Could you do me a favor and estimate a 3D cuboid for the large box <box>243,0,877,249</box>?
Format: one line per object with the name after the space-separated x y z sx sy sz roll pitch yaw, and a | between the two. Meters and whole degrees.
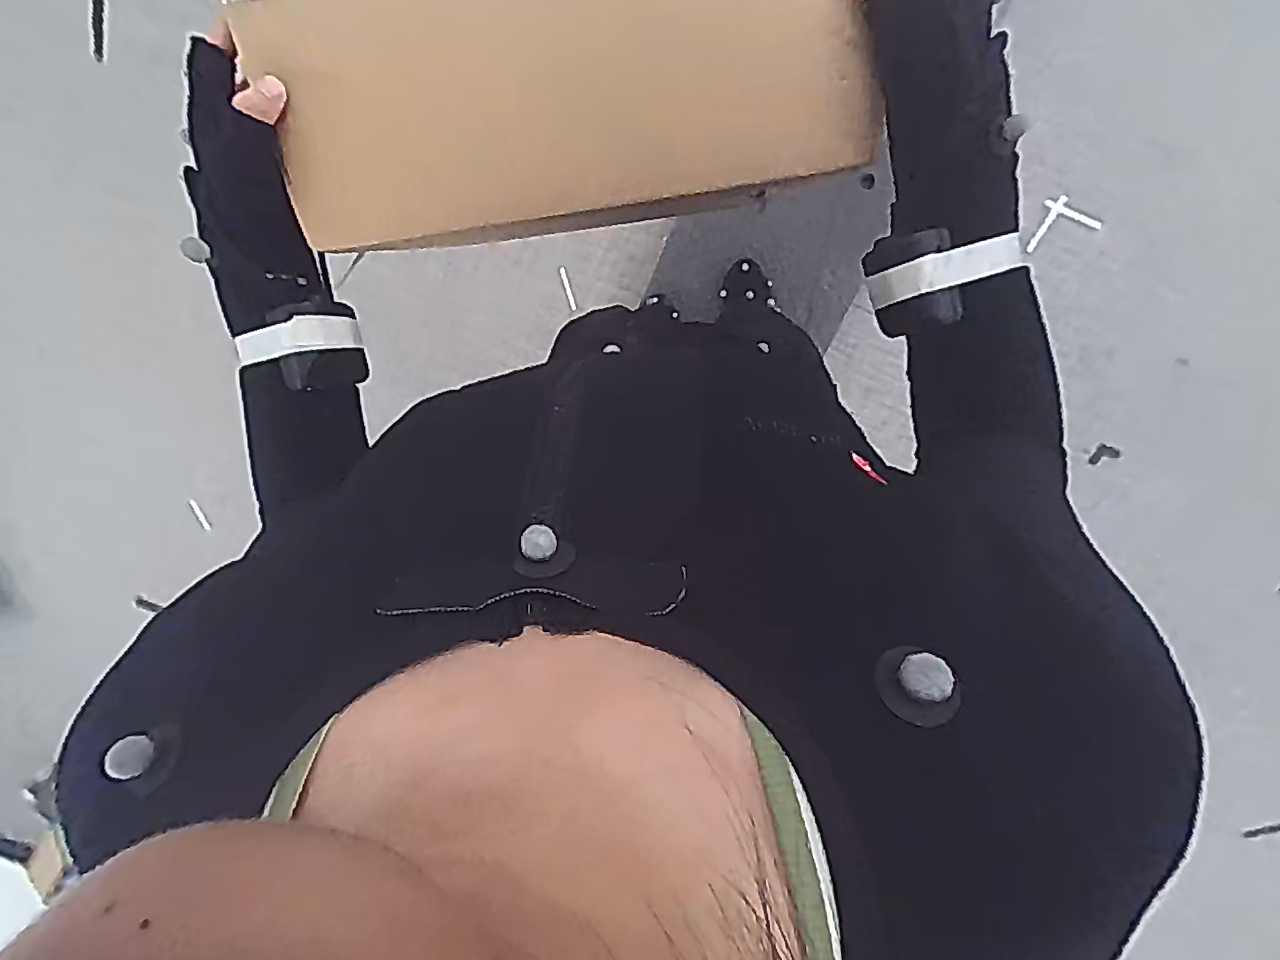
-0.051 -0.393 0.460 0.408 0.320 0.320 -5 113 4 | large box
